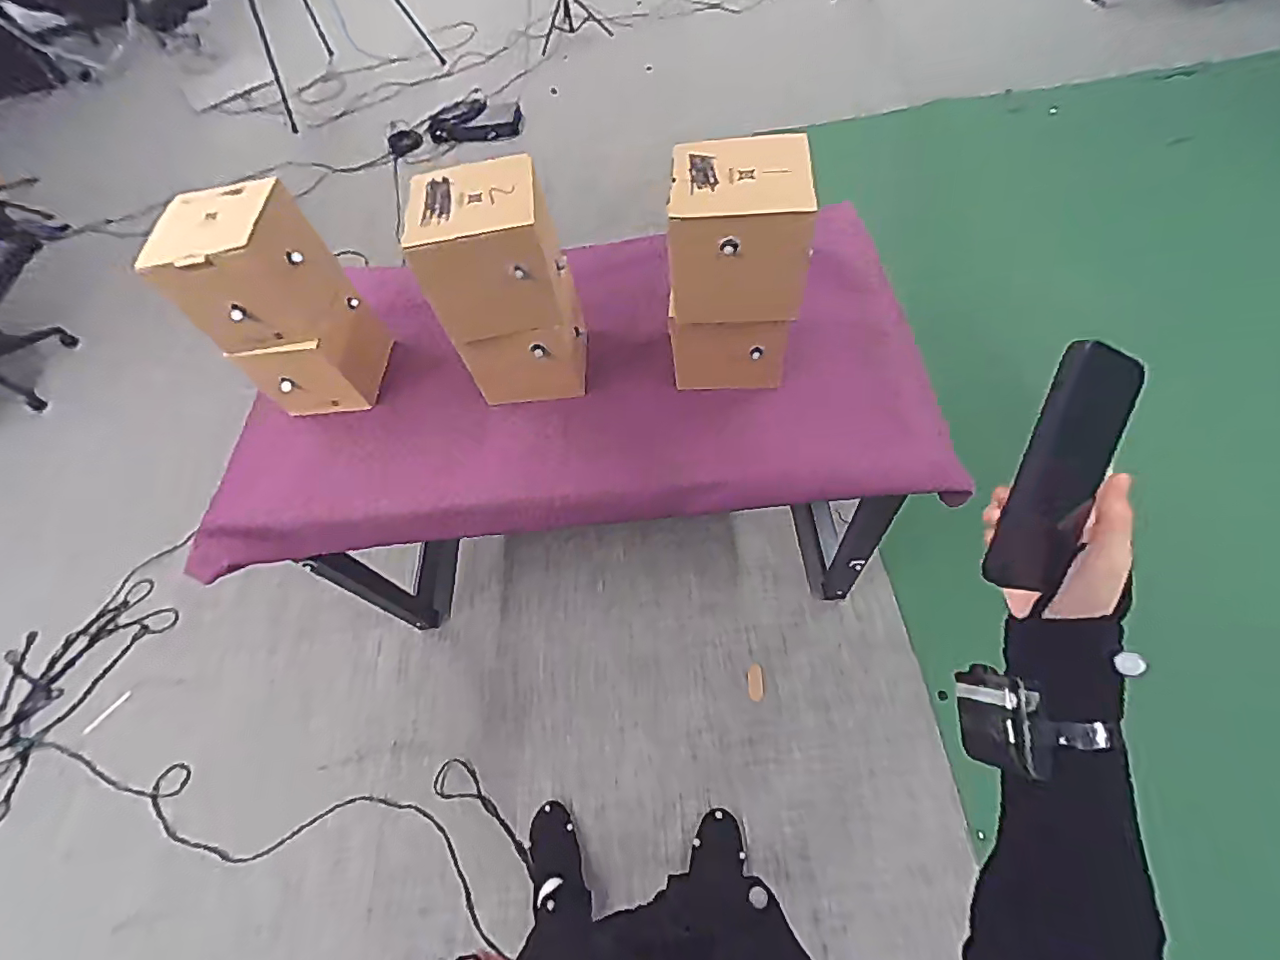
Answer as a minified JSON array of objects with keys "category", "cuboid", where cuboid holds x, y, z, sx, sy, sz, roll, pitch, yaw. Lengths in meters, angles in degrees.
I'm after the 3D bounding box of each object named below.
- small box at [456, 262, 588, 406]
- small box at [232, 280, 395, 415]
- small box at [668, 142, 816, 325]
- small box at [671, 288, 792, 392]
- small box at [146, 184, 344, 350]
[{"category":"small box","cuboid":[-0.189,-0.245,0.932,0.179,0.176,0.168,-5,59,6]},{"category":"small box","cuboid":[-0.576,-0.232,0.984,0.168,0.176,0.179,-4,59,6]},{"category":"small box","cuboid":[0.136,-0.329,0.743,0.179,0.176,0.168,1,59,8]},{"category":"small box","cuboid":[0.149,-0.258,0.890,0.179,0.176,0.168,1,59,10]},{"category":"small box","cuboid":[-0.598,-0.323,0.849,0.168,0.176,0.179,-8,59,3]}]
